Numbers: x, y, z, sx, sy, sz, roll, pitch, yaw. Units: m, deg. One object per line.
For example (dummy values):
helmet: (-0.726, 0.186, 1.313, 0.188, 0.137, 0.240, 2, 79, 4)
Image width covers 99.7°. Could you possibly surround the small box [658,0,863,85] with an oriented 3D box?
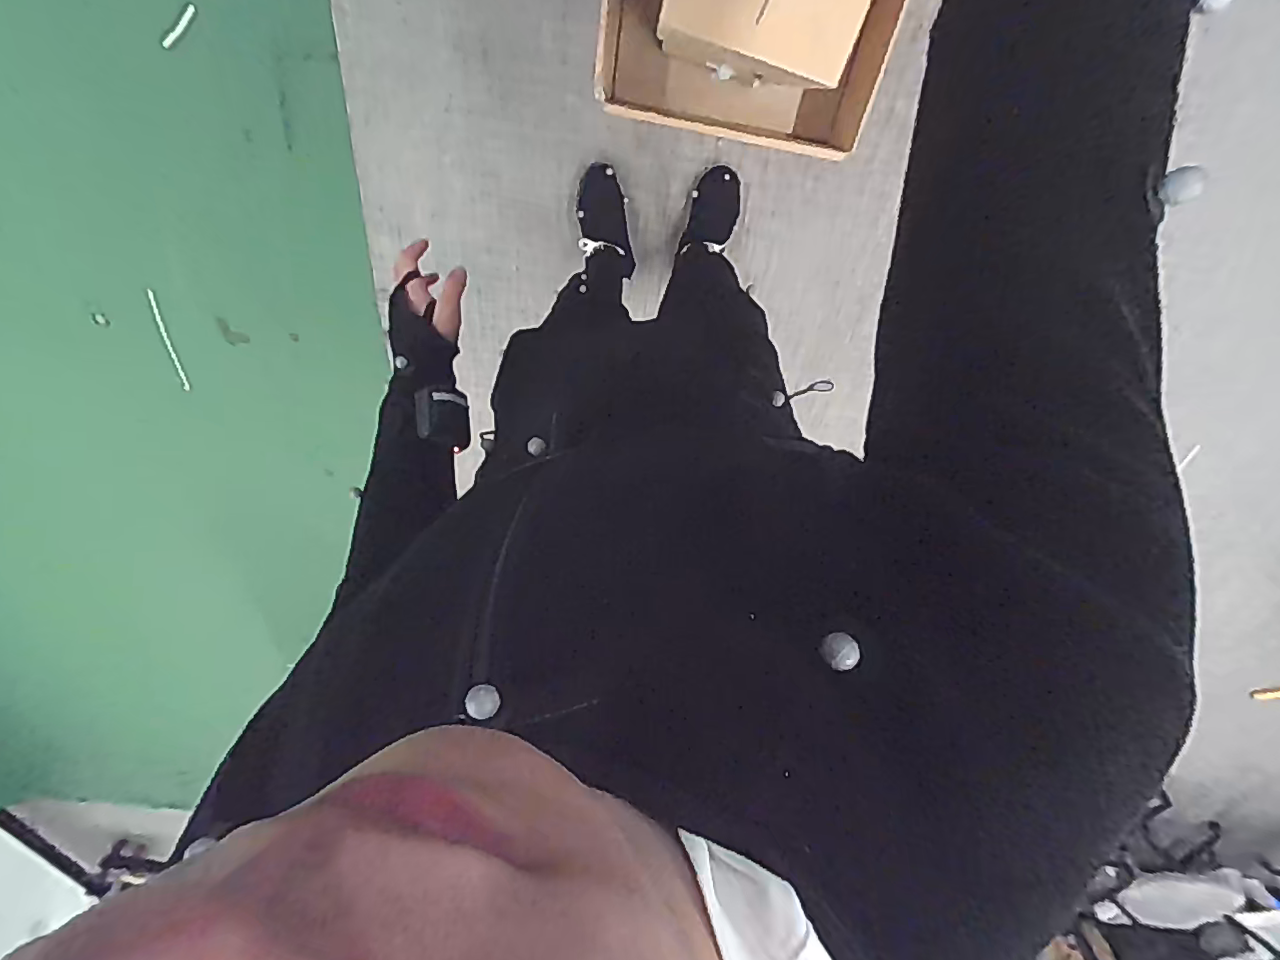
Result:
small box: (0.114, -0.483, 0.484, 0.168, 0.176, 0.179, 13, 126, -8)
